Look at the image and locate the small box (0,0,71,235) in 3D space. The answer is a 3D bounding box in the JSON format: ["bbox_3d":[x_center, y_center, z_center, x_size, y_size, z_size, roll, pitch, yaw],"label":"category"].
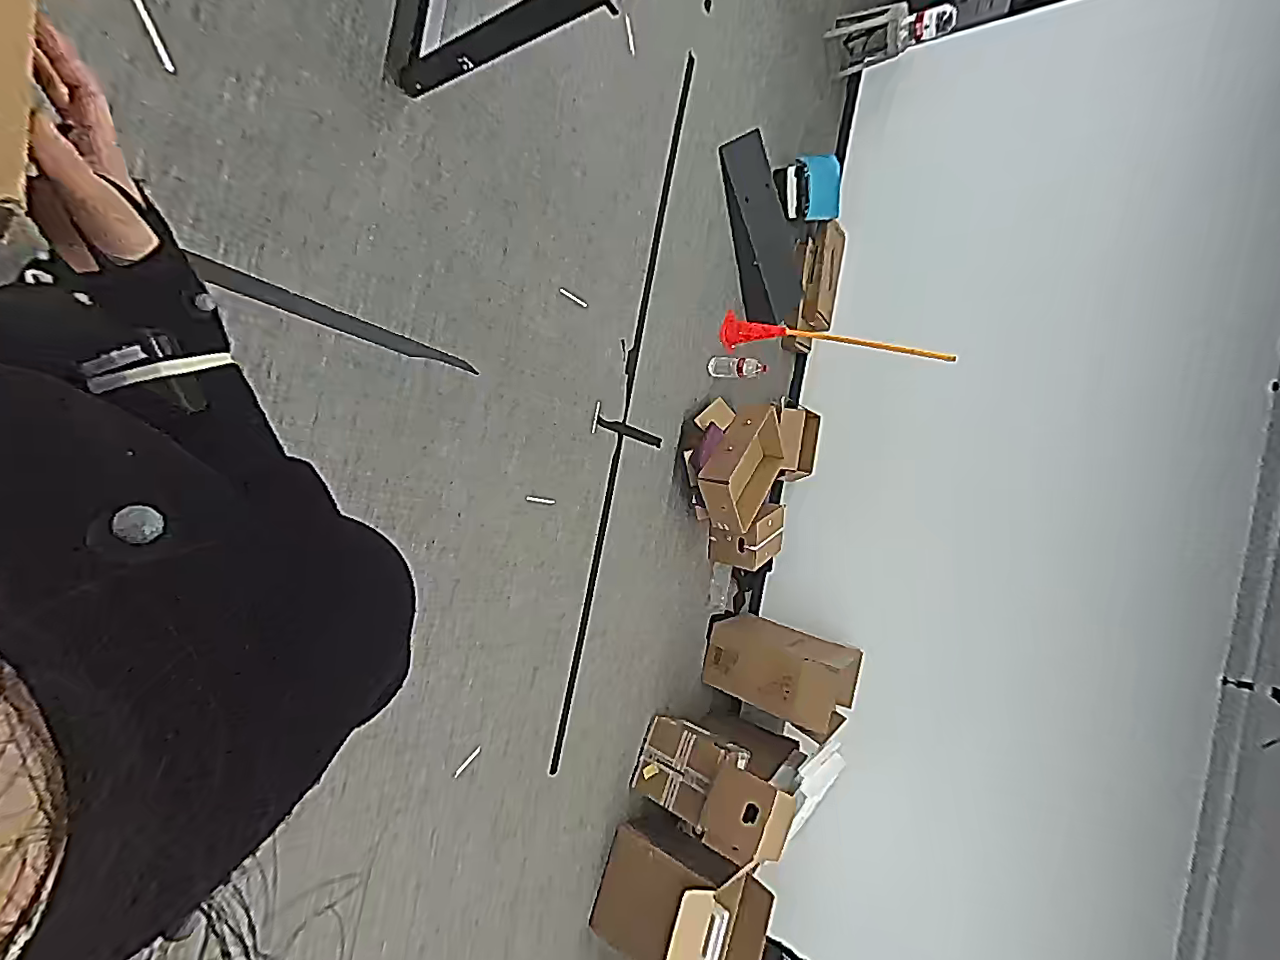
[{"bbox_3d":[-0.377,-0.227,0.233,0.168,0.176,0.179,3,99,-53],"label":"small box"}]
